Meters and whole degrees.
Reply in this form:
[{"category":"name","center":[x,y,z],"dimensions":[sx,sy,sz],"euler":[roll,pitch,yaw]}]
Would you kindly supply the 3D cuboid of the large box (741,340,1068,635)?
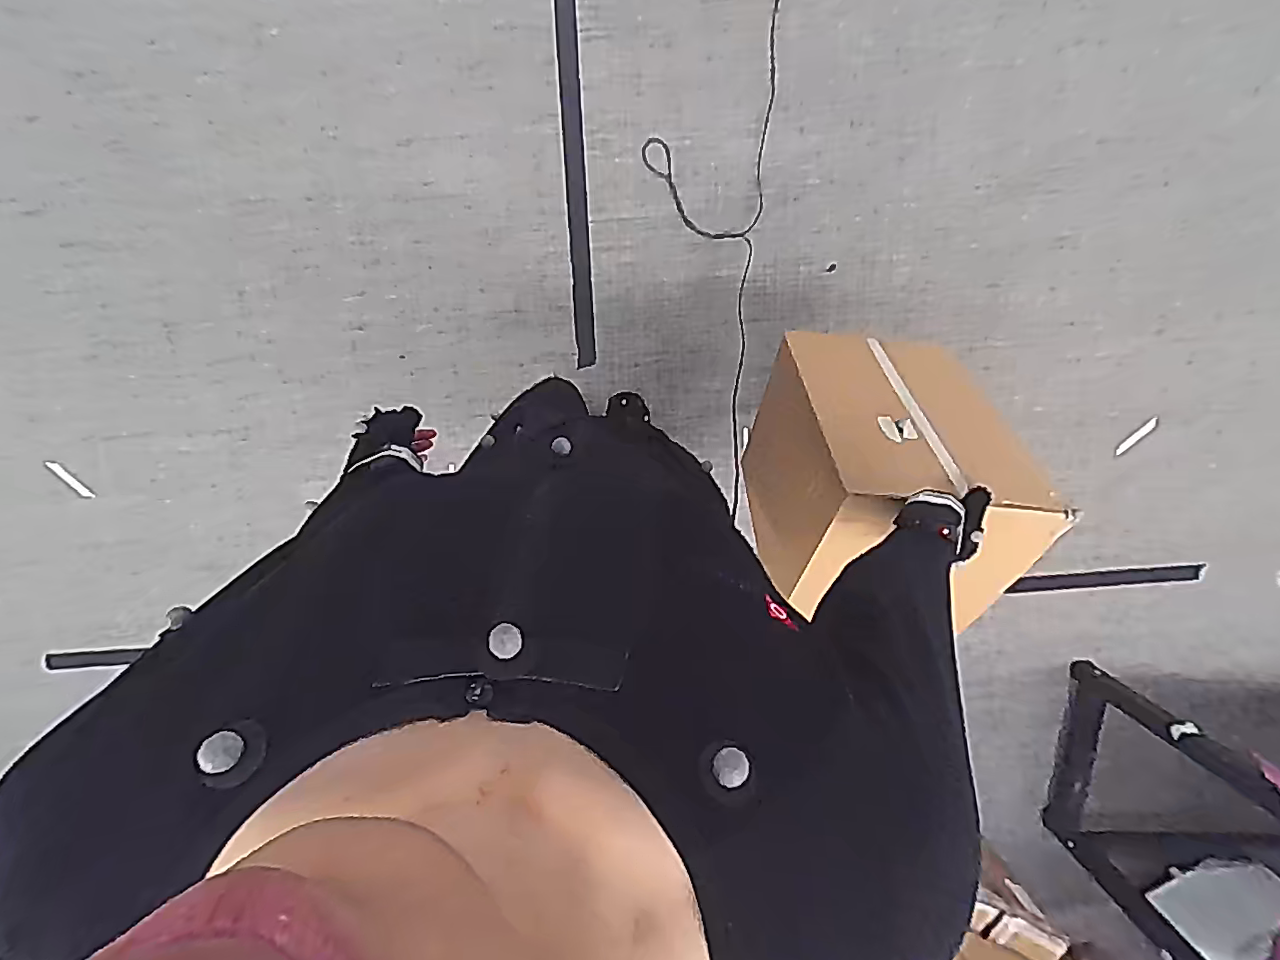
[{"category":"large box","center":[0.390,0.008,0.940],"dimensions":[0.320,0.408,0.320],"euler":[5,135,-6]}]
